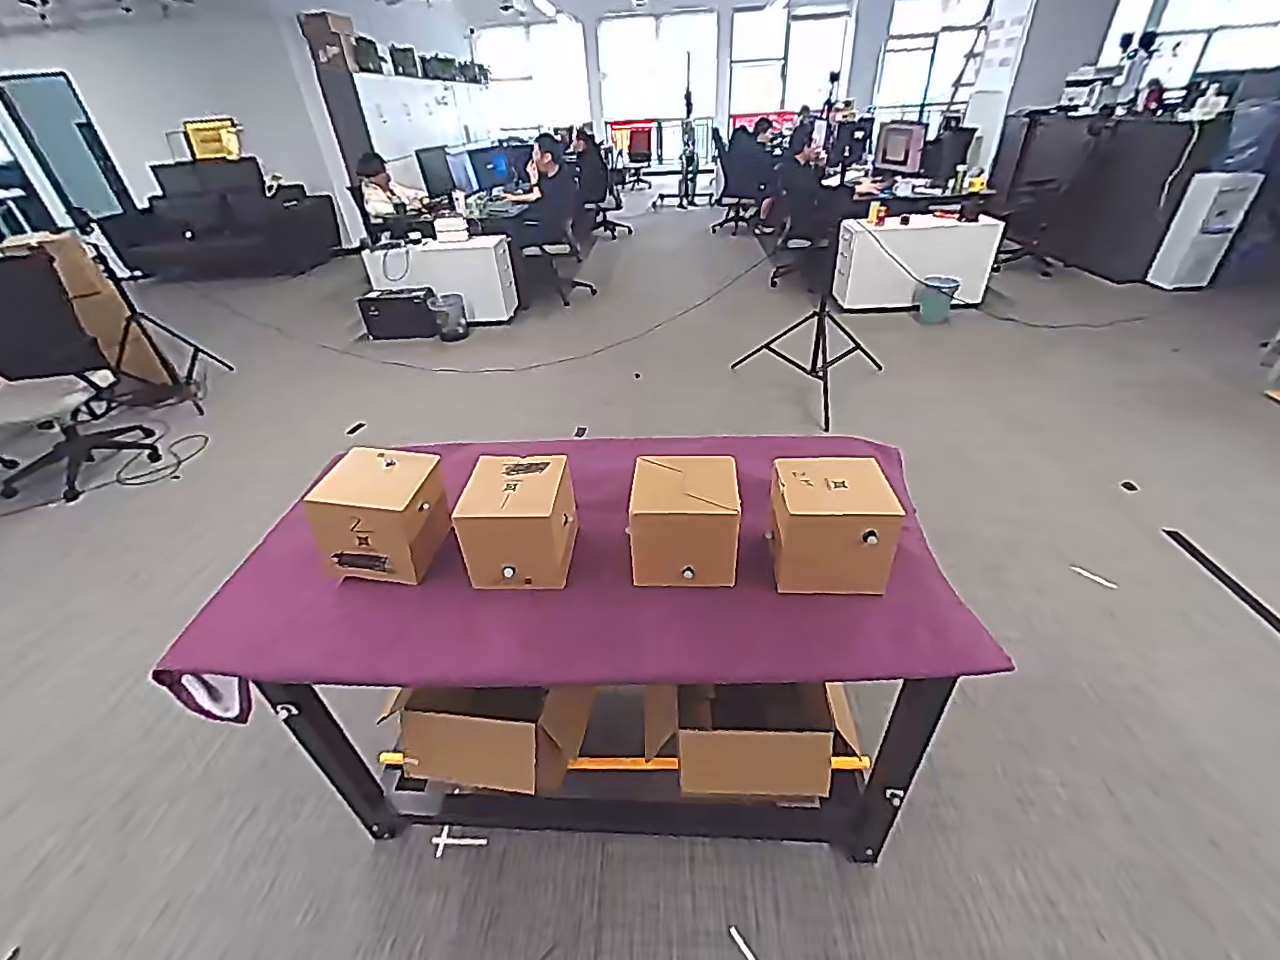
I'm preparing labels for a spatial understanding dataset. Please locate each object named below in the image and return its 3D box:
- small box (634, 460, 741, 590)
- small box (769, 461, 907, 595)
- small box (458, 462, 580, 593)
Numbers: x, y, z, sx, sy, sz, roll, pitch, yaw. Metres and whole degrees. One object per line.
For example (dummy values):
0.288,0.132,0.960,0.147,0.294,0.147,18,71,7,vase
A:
0.082,0.075,0.957,0.179,0.176,0.168,-1,33,6,small box
0.326,0.081,0.927,0.179,0.176,0.168,0,33,5,small box
-0.206,0.083,0.980,0.168,0.176,0.179,-1,35,4,small box
